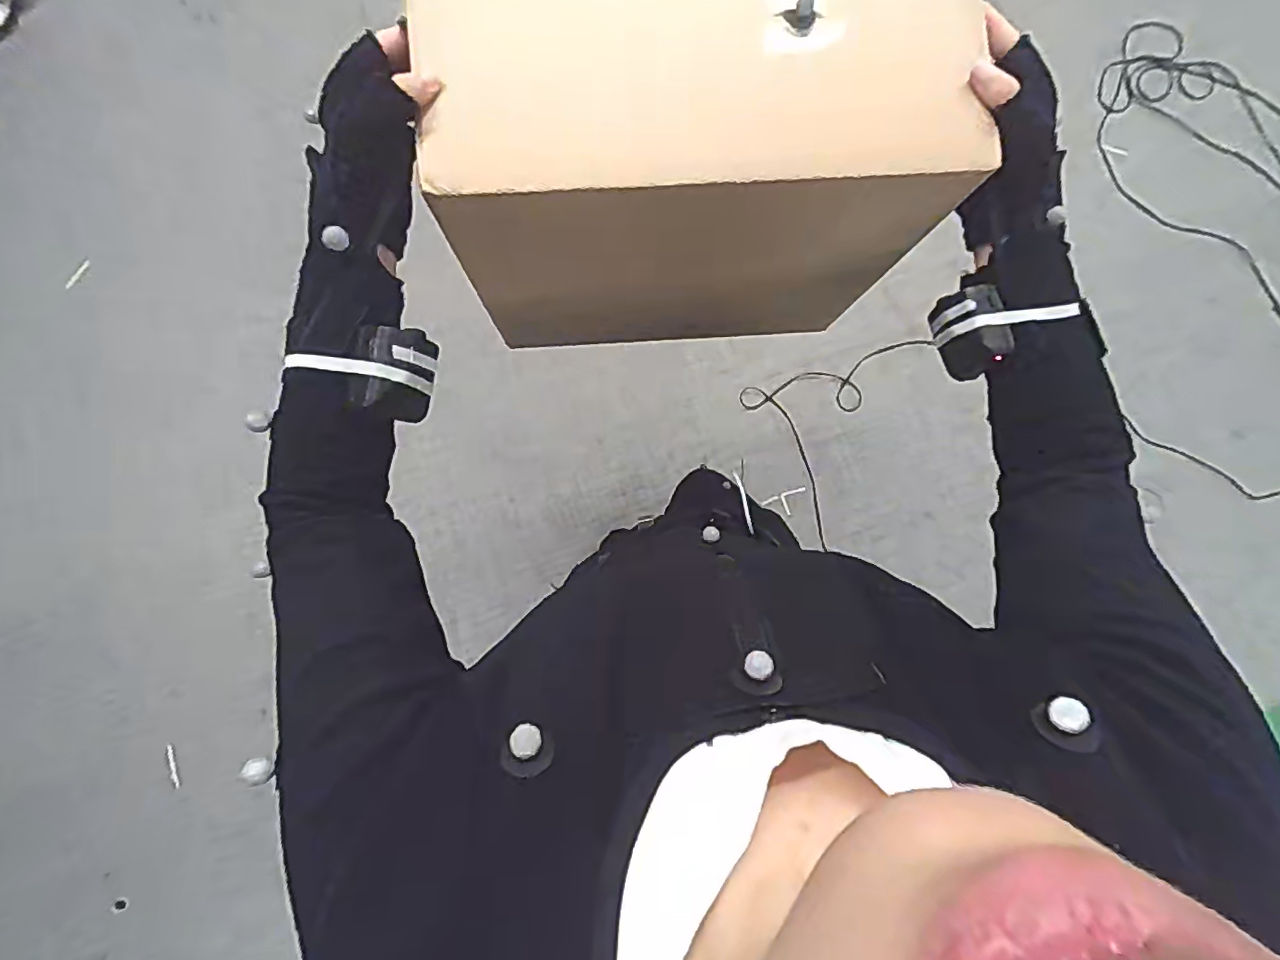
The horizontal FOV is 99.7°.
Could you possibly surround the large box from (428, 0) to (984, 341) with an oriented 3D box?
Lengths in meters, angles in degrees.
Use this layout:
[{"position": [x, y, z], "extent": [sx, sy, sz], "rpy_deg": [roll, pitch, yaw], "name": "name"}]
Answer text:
[{"position": [0.033, -0.352, 0.546], "extent": [0.408, 0.320, 0.320], "rpy_deg": [-4, 85, -5], "name": "large box"}]
